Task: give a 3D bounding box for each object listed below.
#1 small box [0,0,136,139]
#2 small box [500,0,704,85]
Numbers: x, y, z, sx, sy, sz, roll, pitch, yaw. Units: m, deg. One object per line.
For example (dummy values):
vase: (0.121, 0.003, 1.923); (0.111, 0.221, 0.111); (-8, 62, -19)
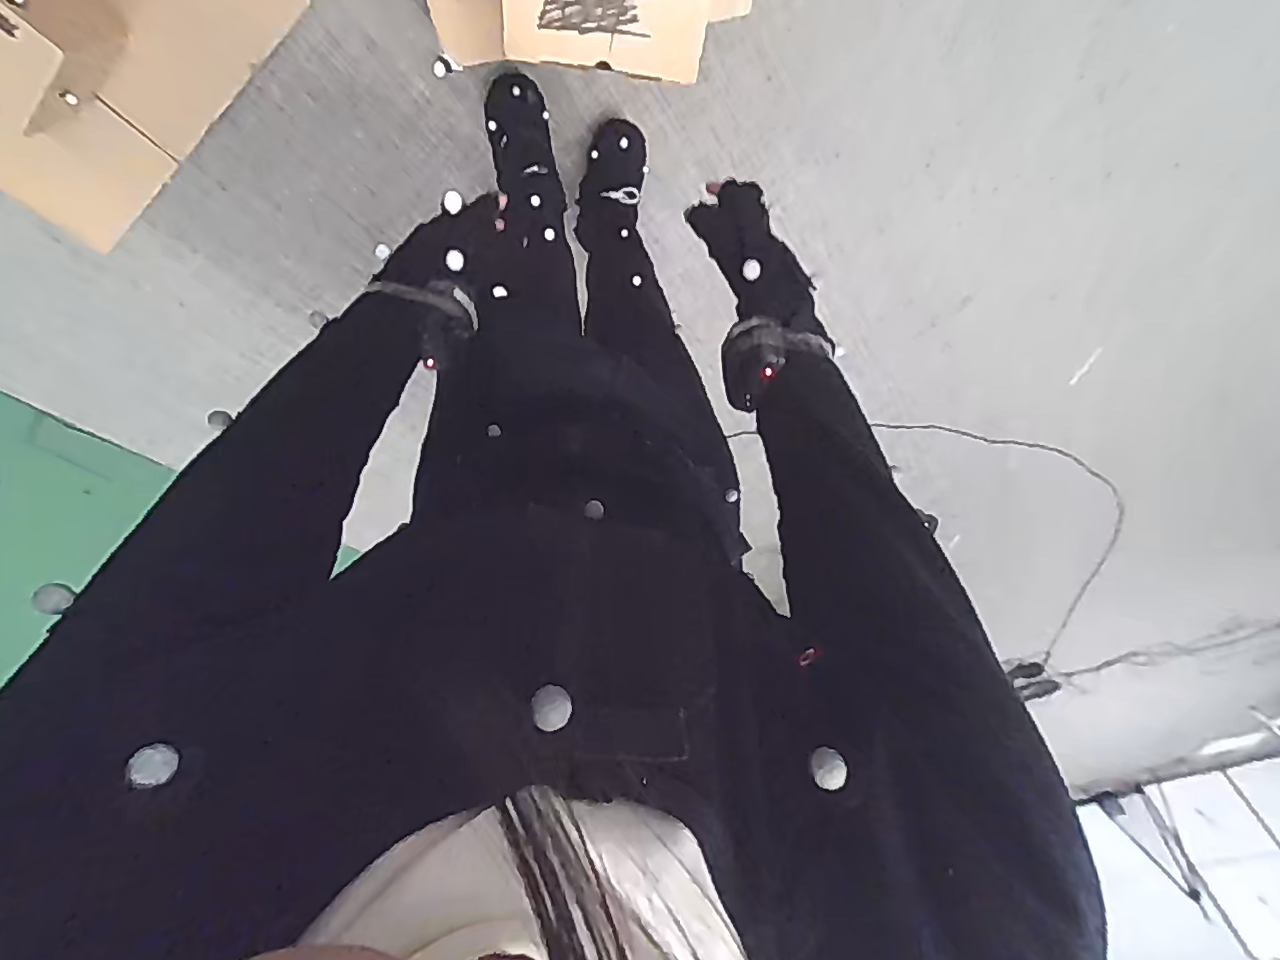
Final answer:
small box: (-0.900, -0.653, 0.791); (0.179, 0.176, 0.168); (-32, 131, 25)
small box: (-0.034, -0.467, 0.460); (0.168, 0.176, 0.179); (-2, 137, -9)
